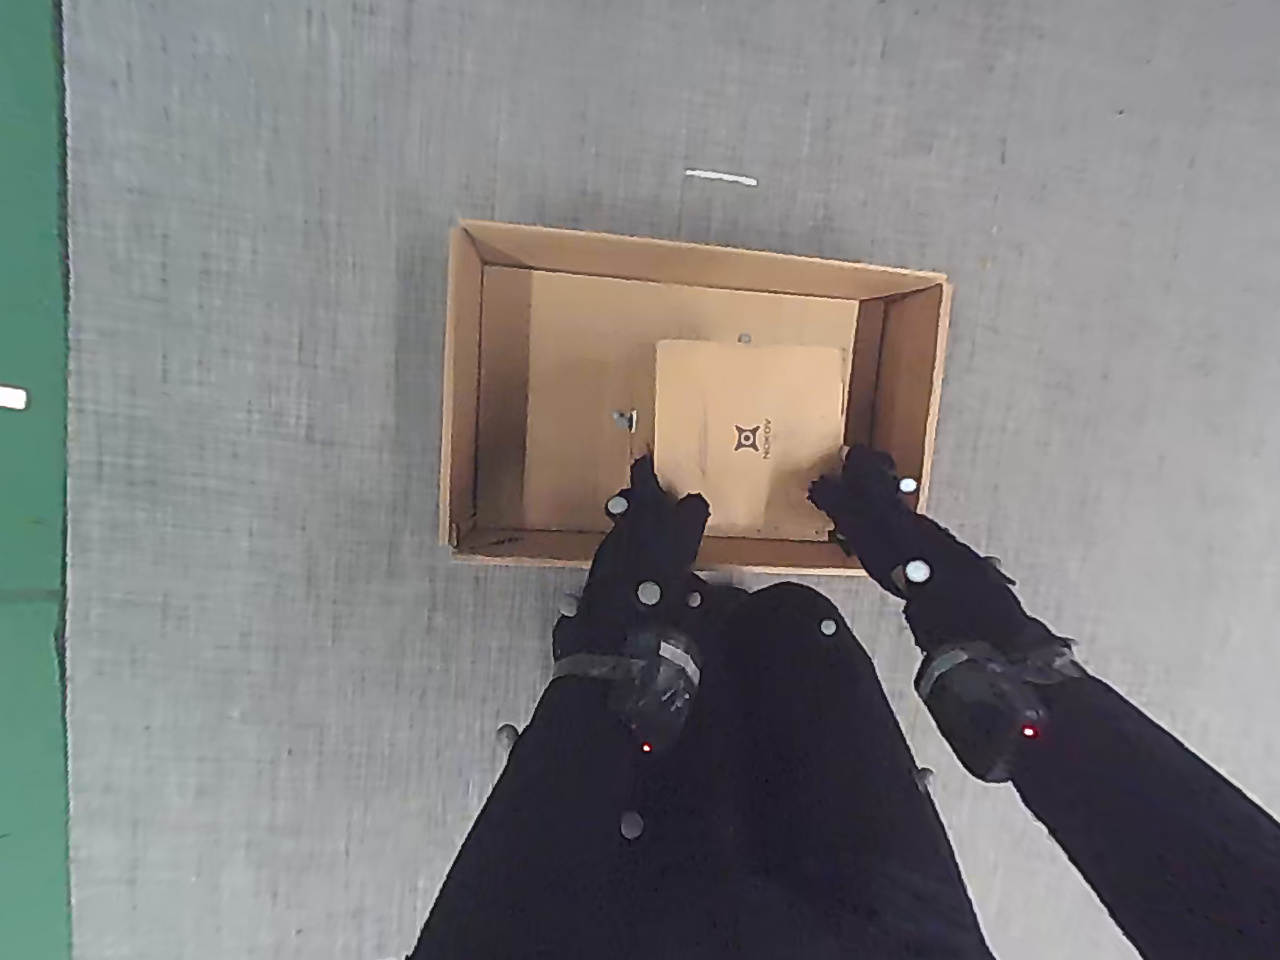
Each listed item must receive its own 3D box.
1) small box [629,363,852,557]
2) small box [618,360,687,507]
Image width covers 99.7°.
[{"bbox_3d":[0.090,-0.026,0.548,0.179,0.176,0.168,-3,95,-9],"label":"small box"},{"bbox_3d":[0.060,-0.057,0.726,0.168,0.176,0.179,3,95,-7],"label":"small box"}]
